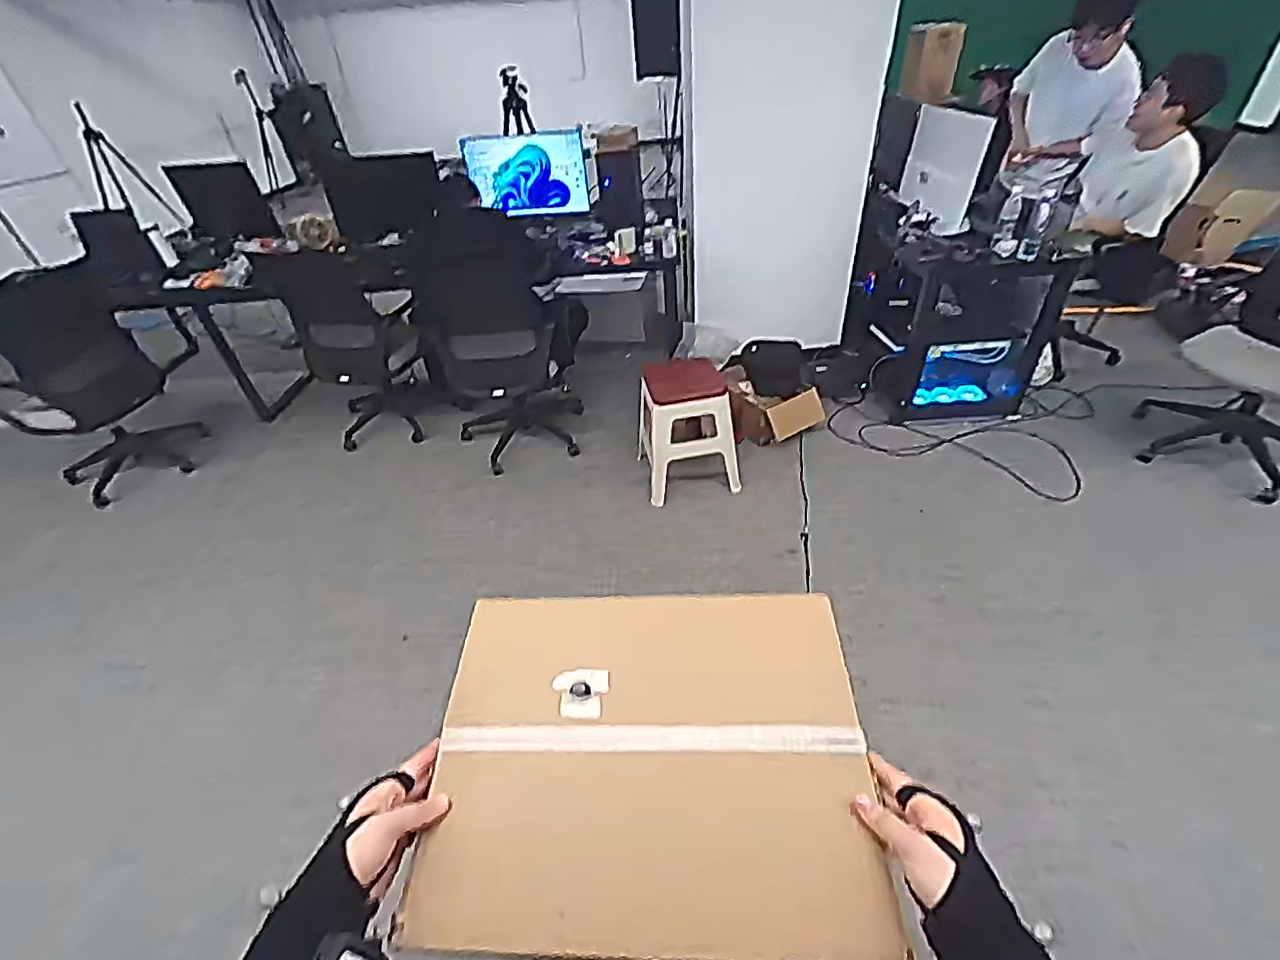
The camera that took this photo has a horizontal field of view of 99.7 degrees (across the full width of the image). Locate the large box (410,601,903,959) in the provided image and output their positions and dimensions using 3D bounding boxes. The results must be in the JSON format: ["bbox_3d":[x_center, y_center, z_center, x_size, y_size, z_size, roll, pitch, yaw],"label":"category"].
[{"bbox_3d":[0.024,0.363,0.638,0.408,0.320,0.320,-3,45,5],"label":"large box"}]
